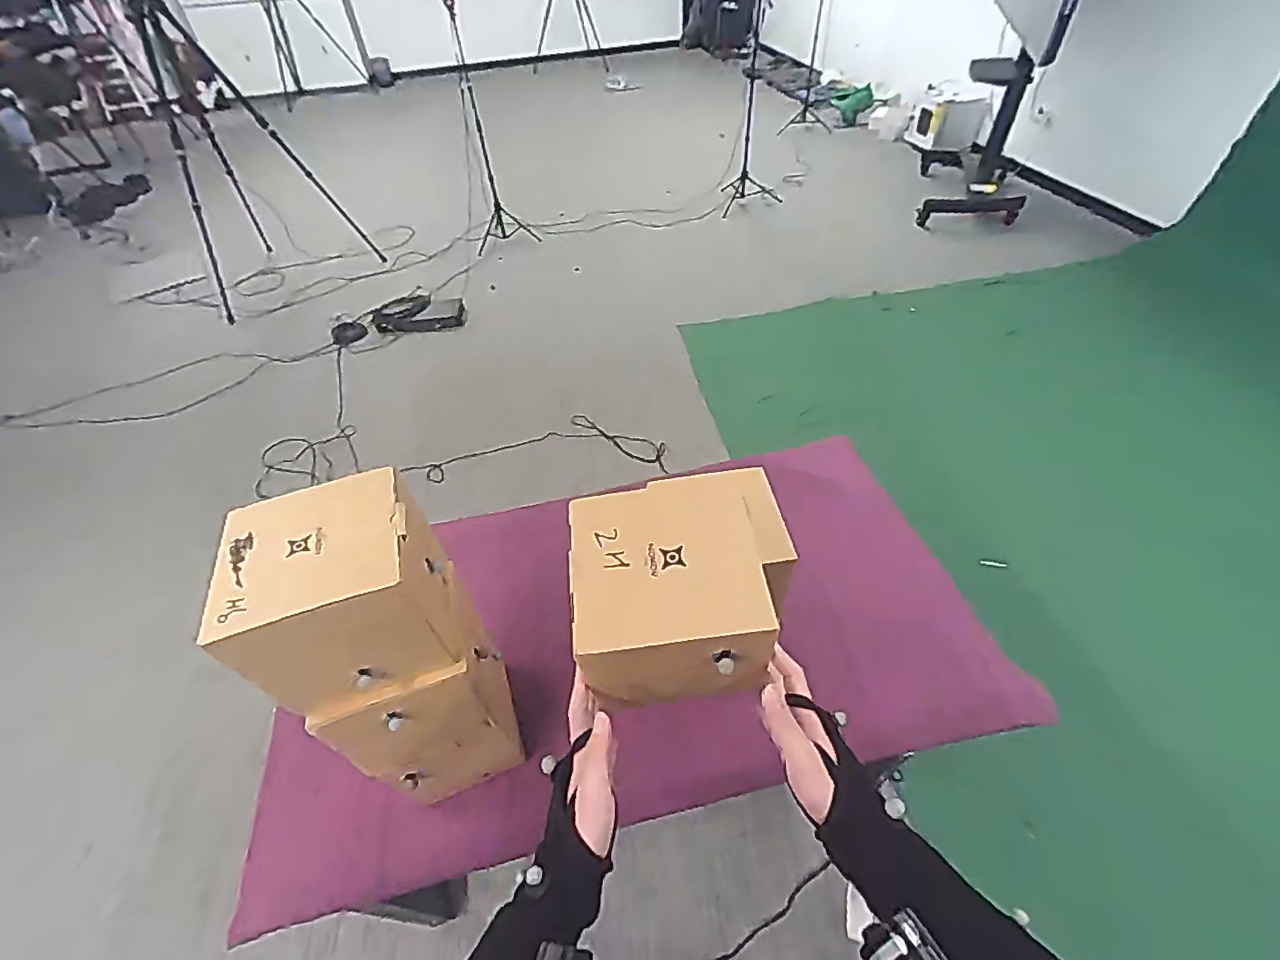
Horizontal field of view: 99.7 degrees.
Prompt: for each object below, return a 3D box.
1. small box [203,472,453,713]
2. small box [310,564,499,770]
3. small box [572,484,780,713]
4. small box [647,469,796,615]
[{"bbox_3d":[-0.314,0.123,0.588,0.179,0.176,0.168,-16,48,-11],"label":"small box"},{"bbox_3d":[-0.291,0.243,0.699,0.179,0.176,0.168,-17,48,-11],"label":"small box"},{"bbox_3d":[0.030,0.127,0.559,0.179,0.176,0.168,-8,51,0],"label":"small box"},{"bbox_3d":[0.110,0.108,0.793,0.179,0.176,0.168,-7,49,-2],"label":"small box"}]
